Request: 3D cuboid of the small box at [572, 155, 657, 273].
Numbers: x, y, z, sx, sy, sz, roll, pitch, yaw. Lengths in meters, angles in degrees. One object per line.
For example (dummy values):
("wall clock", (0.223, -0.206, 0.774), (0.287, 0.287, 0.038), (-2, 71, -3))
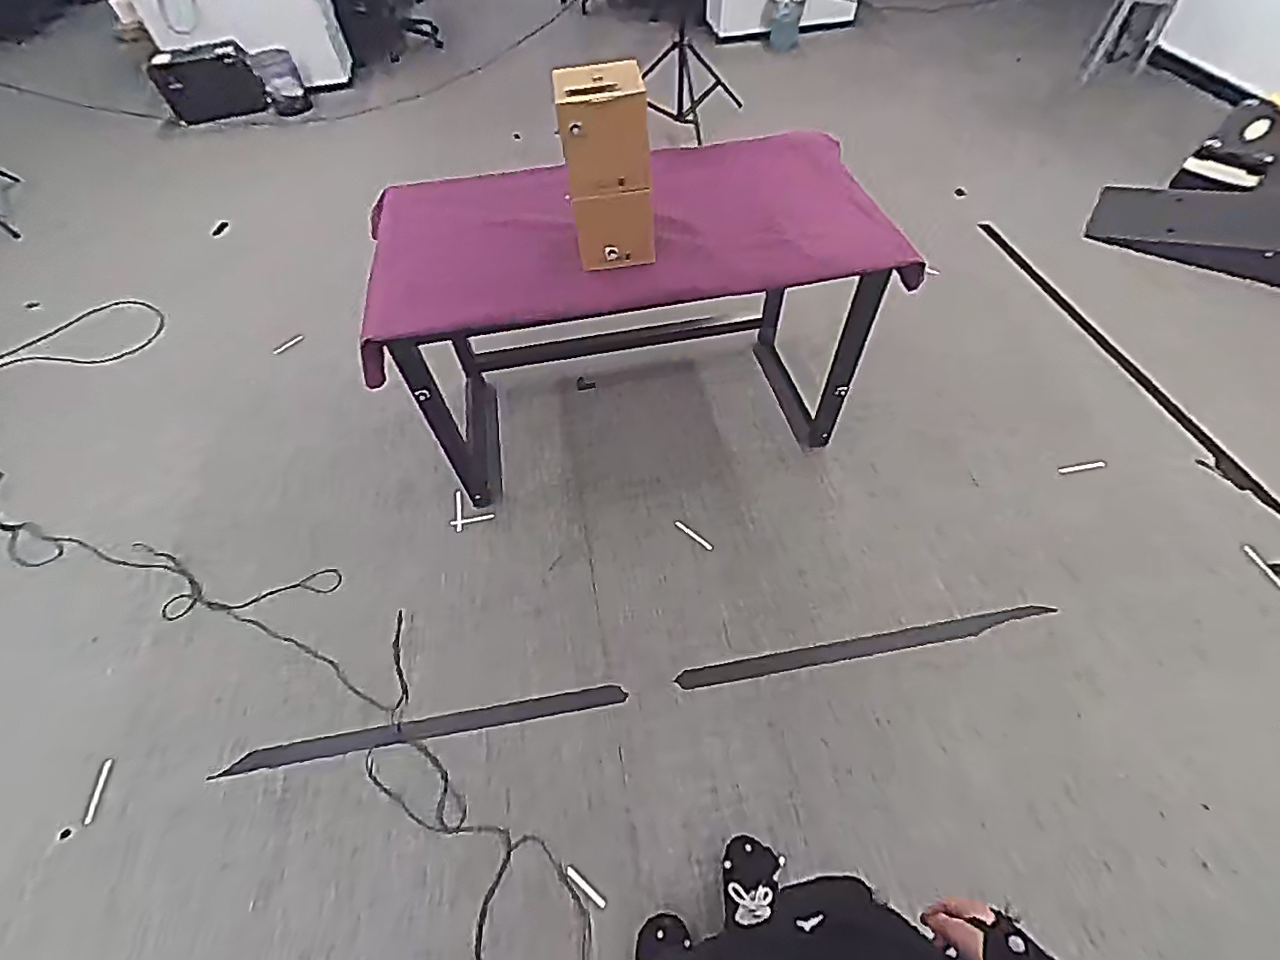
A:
("small box", (-0.056, -0.591, 1.206), (0.168, 0.176, 0.179), (-8, 55, -2))
